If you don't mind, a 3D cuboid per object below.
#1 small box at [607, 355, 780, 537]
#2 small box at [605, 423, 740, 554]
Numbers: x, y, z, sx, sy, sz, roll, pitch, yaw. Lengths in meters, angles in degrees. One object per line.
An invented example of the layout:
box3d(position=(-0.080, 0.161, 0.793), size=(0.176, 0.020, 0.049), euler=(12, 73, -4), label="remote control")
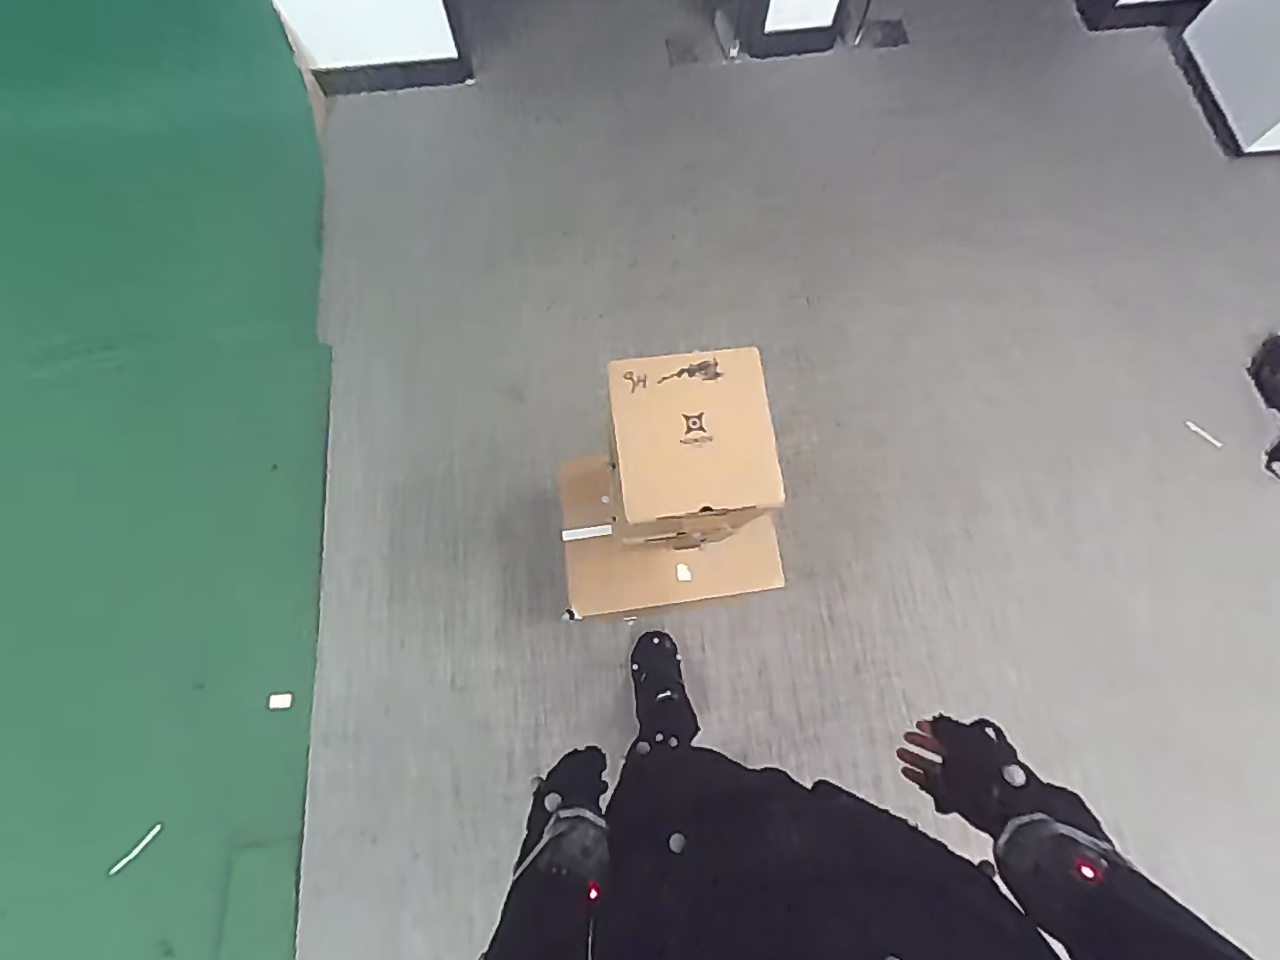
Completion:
box3d(position=(0.053, -0.028, 0.646), size=(0.168, 0.176, 0.179), euler=(-7, 79, -4), label="small box")
box3d(position=(0.040, 0.014, 0.804), size=(0.168, 0.176, 0.179), euler=(-7, 77, -4), label="small box")
